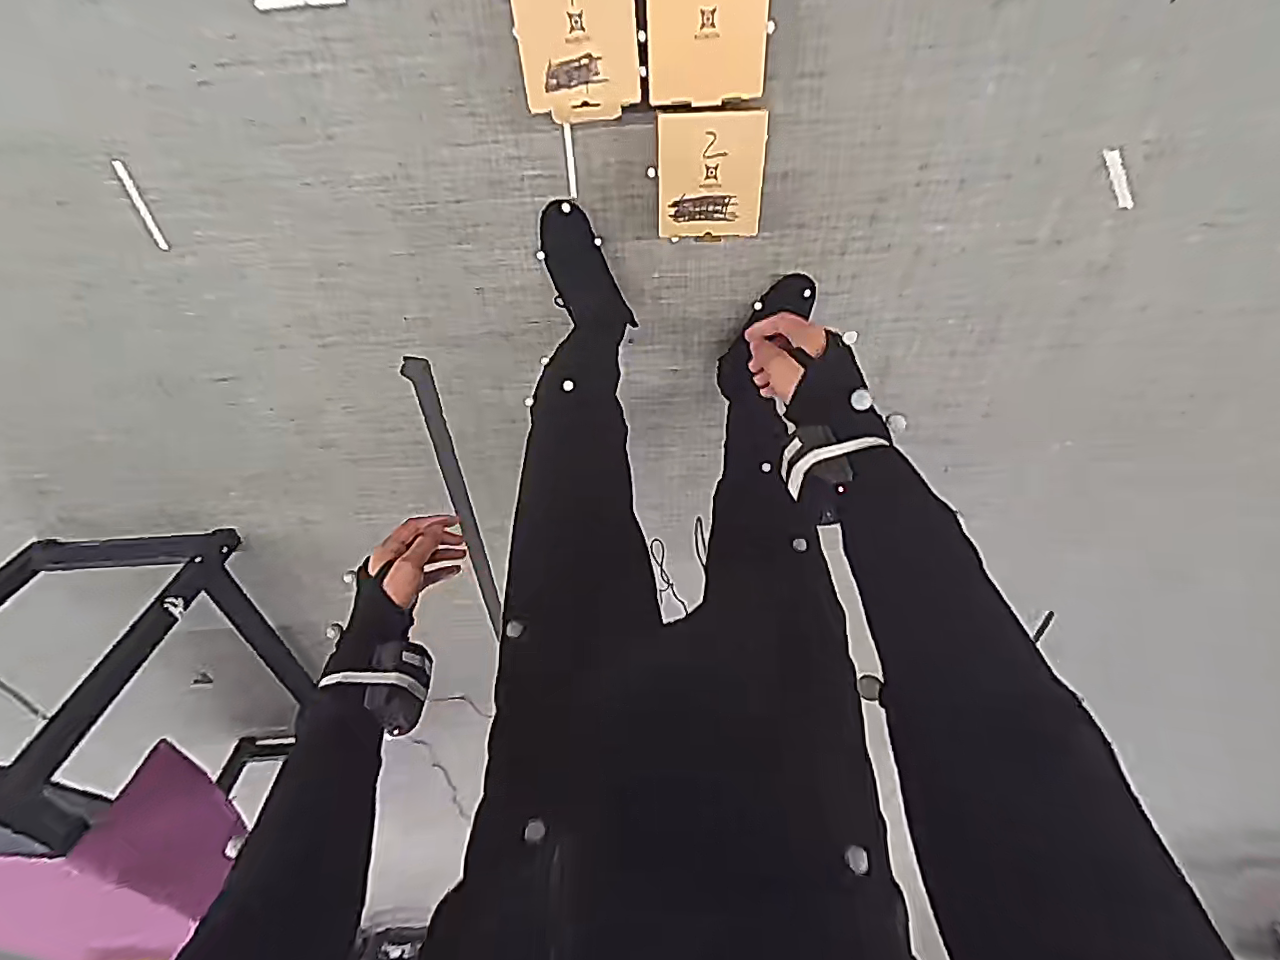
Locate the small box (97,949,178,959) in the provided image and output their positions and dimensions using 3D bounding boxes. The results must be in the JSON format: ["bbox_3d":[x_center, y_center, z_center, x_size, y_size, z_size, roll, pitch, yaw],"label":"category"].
[{"bbox_3d":[-1.426,1.422,1.490,0.179,0.176,0.168,-1,128,0],"label":"small box"}]
